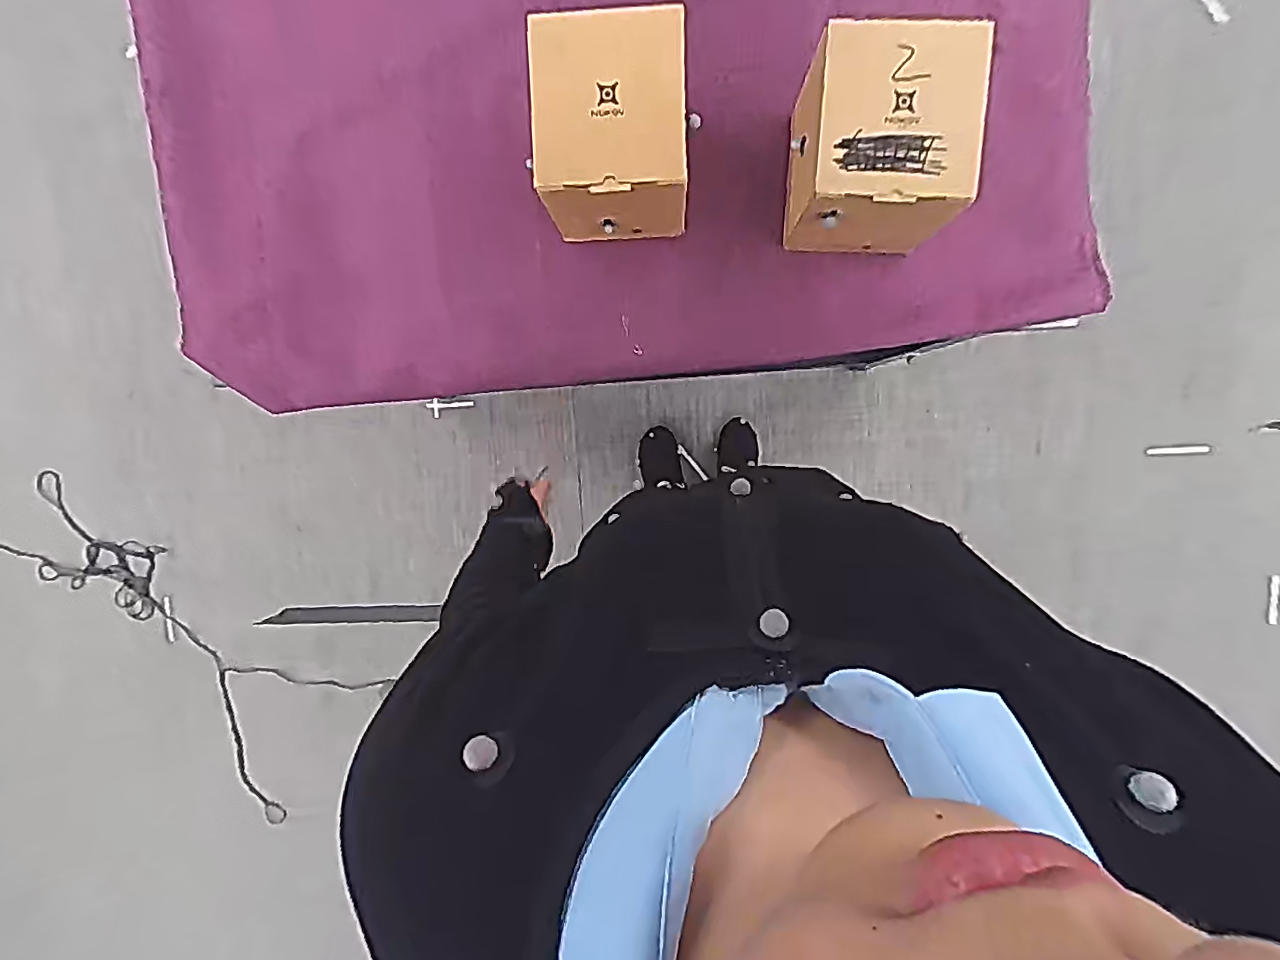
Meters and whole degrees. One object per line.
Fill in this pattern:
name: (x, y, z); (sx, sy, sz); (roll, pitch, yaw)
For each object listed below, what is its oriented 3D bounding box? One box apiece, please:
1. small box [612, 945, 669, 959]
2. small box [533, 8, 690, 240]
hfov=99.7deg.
small box: (0.002, 1.468, 1.531); (0.168, 0.176, 0.179); (-5, 96, 4)
small box: (-0.027, -0.407, 0.647); (0.168, 0.176, 0.179); (-1, 96, 3)
